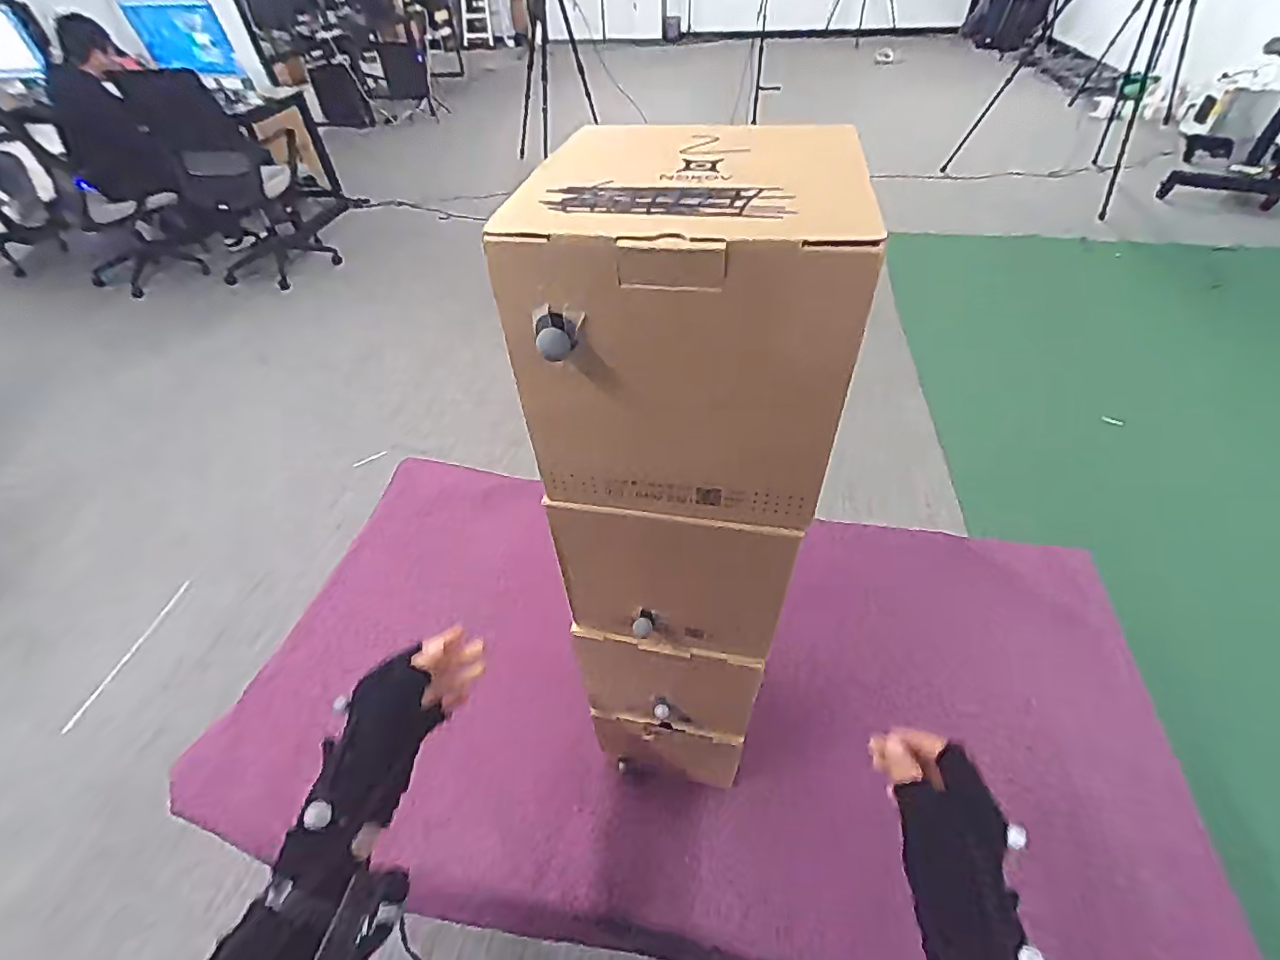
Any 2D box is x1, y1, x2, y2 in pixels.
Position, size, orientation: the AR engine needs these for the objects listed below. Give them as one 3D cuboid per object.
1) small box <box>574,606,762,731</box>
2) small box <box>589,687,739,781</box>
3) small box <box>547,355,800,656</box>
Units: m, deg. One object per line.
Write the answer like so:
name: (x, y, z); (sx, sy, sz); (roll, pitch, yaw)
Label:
small box: (0.040, 0.134, 0.571); (0.168, 0.176, 0.179); (7, 47, 10)
small box: (0.045, 0.254, 0.684); (0.168, 0.176, 0.179); (8, 47, 10)
small box: (0.036, 0.019, 0.456); (0.168, 0.176, 0.179); (7, 47, 10)
